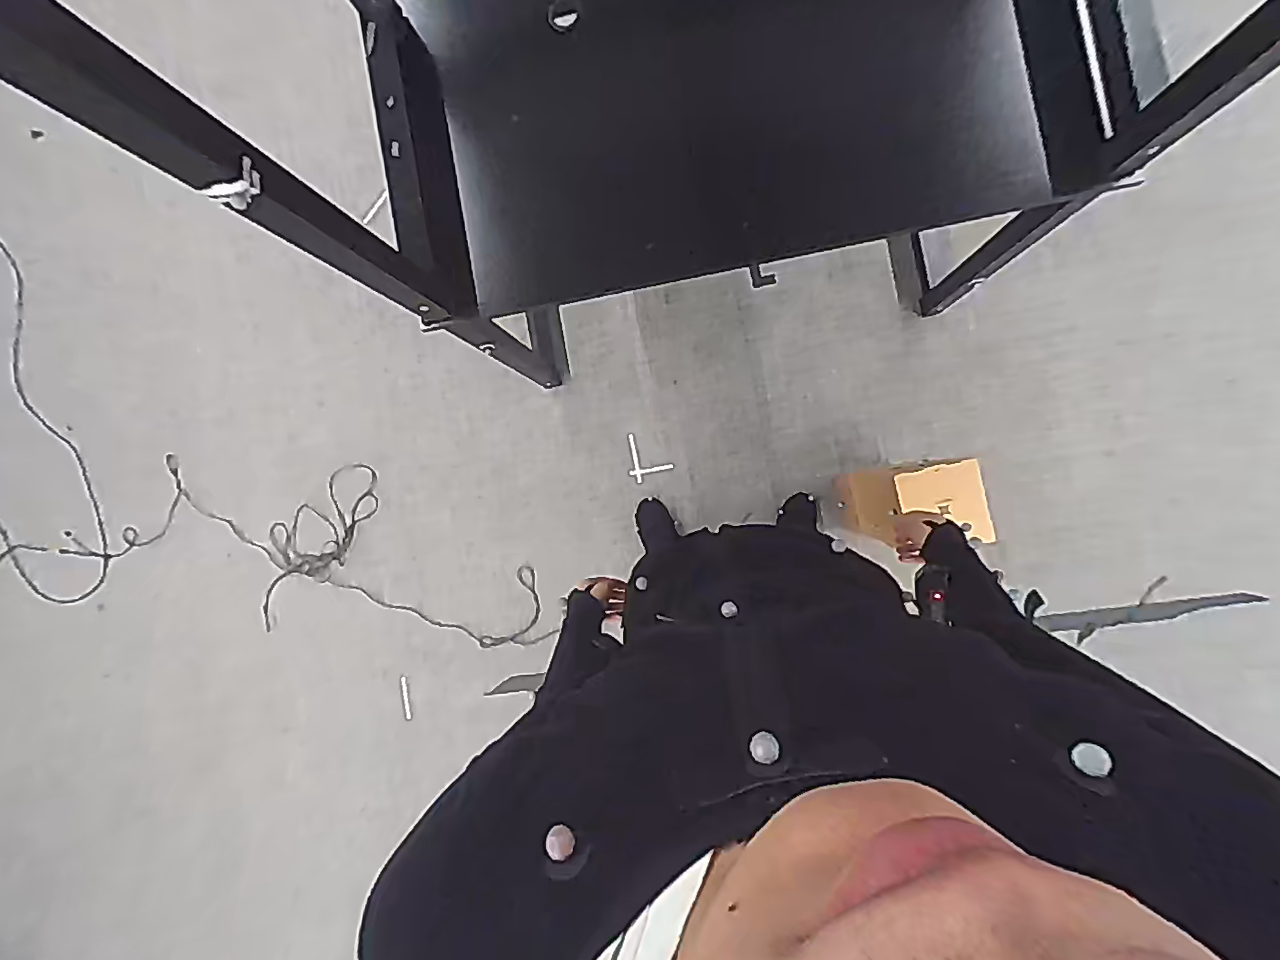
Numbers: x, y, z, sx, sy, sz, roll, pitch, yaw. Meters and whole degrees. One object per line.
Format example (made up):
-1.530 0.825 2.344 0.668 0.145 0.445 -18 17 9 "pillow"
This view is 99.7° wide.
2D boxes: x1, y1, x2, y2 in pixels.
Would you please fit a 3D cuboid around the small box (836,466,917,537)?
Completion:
0.662 0.056 1.494 0.179 0.176 0.168 -12 88 8 "small box"

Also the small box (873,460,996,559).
0.626 0.059 1.169 0.168 0.176 0.179 -13 88 7 "small box"
